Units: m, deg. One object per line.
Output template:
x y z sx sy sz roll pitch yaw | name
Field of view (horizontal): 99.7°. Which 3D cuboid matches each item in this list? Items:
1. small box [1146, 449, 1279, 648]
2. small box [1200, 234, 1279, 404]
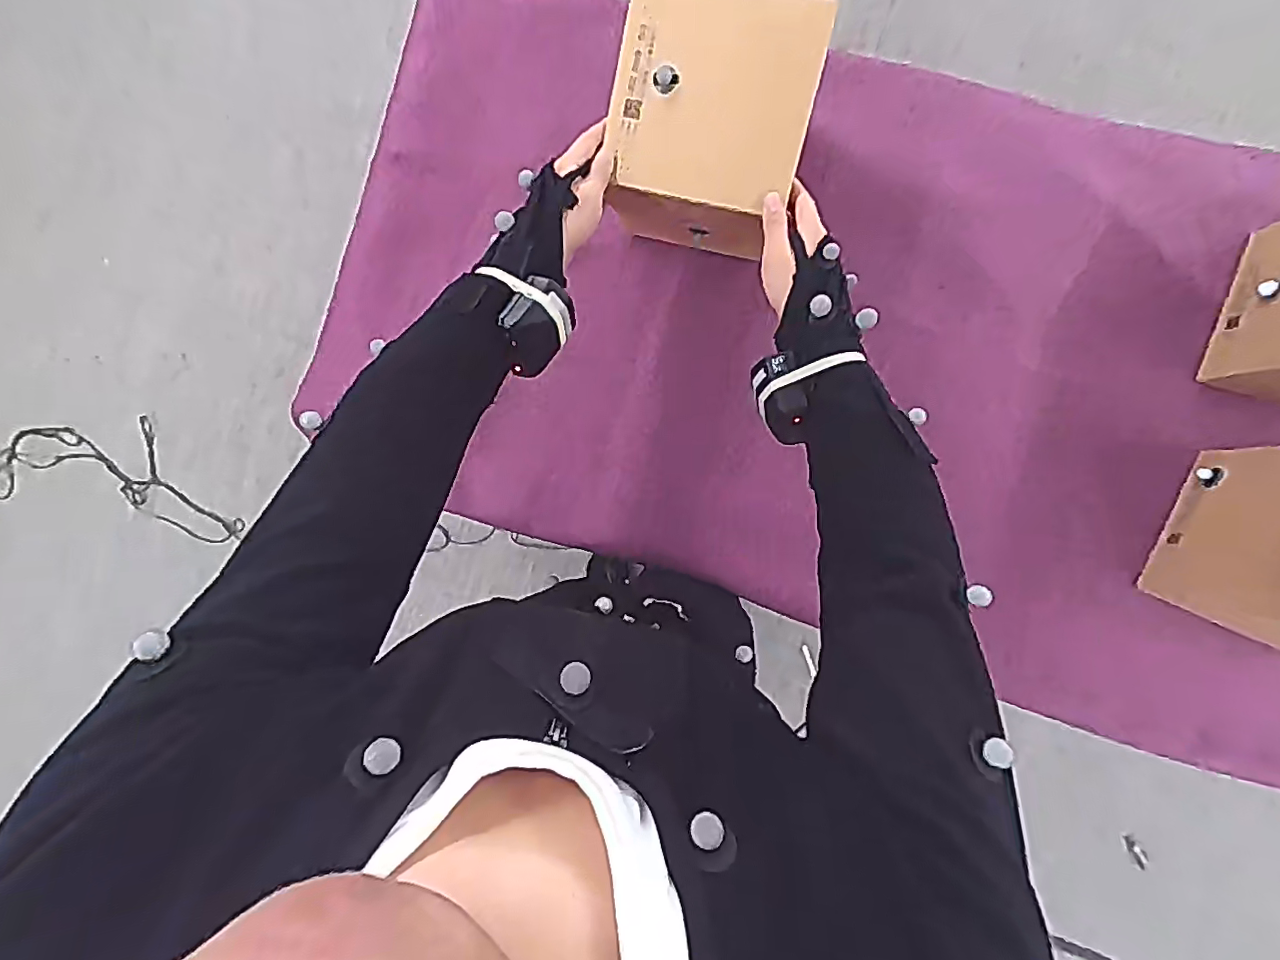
0.640 0.076 0.496 0.179 0.176 0.168 24 92 5 | small box
0.694 -0.154 0.487 0.179 0.176 0.168 18 93 5 | small box
